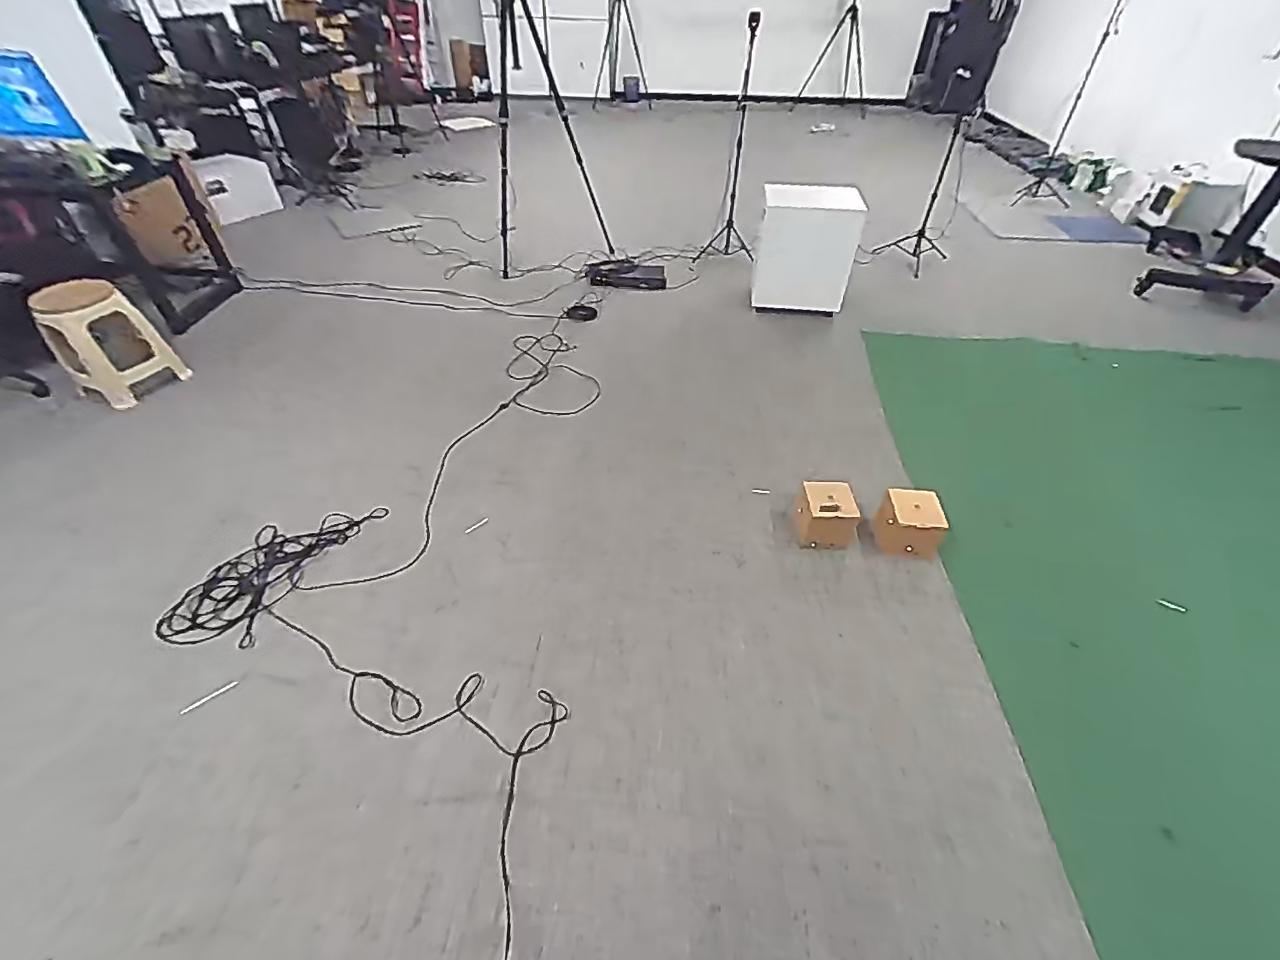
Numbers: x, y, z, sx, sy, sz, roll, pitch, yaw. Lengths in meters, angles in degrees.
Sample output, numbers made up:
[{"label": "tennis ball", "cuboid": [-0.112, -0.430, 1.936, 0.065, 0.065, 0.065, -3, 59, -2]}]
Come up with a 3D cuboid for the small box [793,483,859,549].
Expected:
[{"label": "small box", "cuboid": [0.660, 0.131, 1.937, 0.168, 0.176, 0.179, 2, 43, 0]}]

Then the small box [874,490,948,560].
[{"label": "small box", "cuboid": [0.951, 0.158, 1.917, 0.168, 0.176, 0.179, 4, 44, 4]}]
